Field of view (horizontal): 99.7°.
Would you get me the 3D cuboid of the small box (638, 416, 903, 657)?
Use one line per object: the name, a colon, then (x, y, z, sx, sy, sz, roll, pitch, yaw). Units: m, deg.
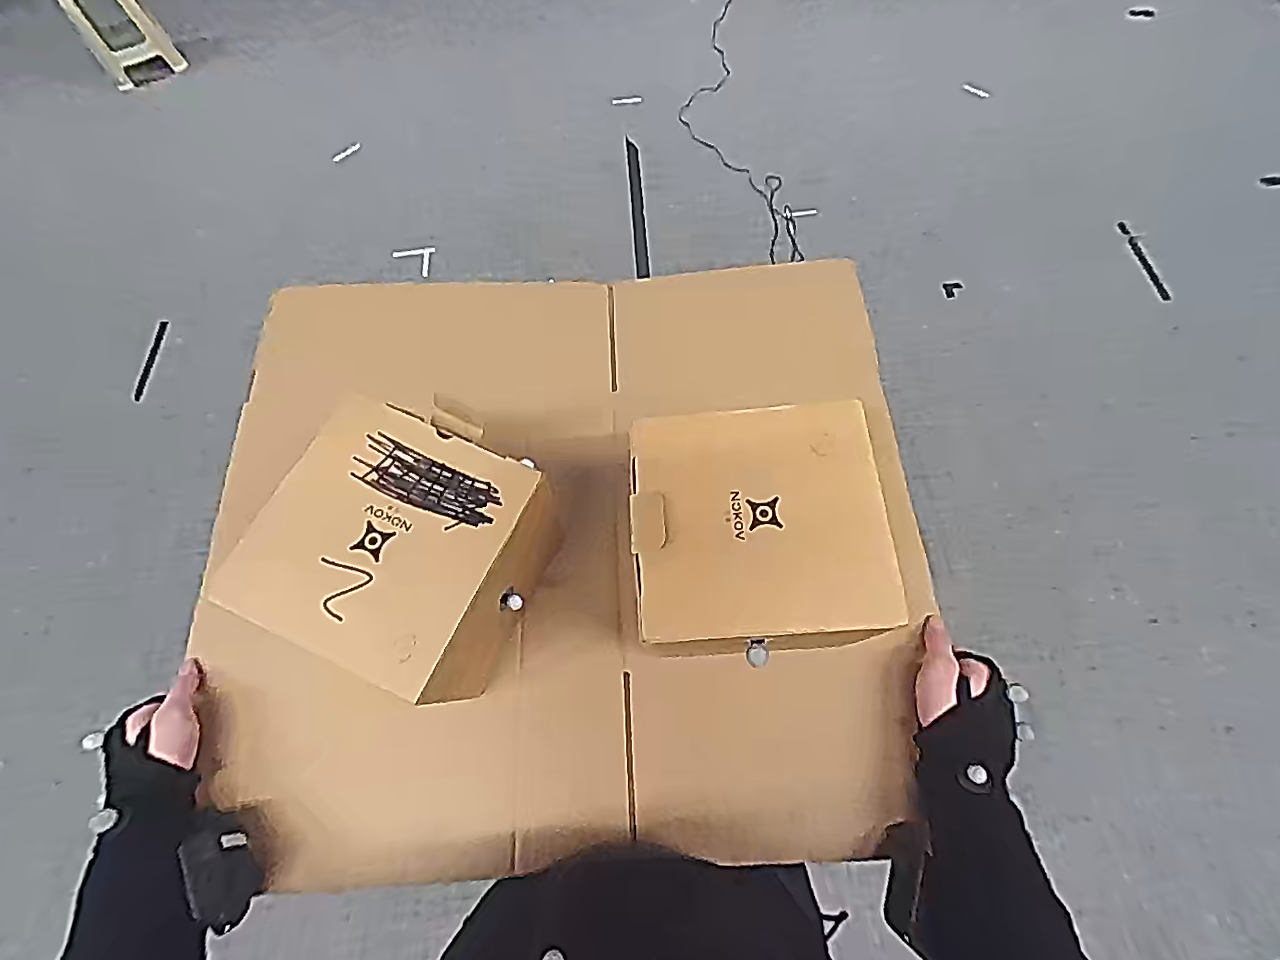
small box: (0.095, 0.061, 0.470, 0.179, 0.176, 0.168, -5, 68, 5)
